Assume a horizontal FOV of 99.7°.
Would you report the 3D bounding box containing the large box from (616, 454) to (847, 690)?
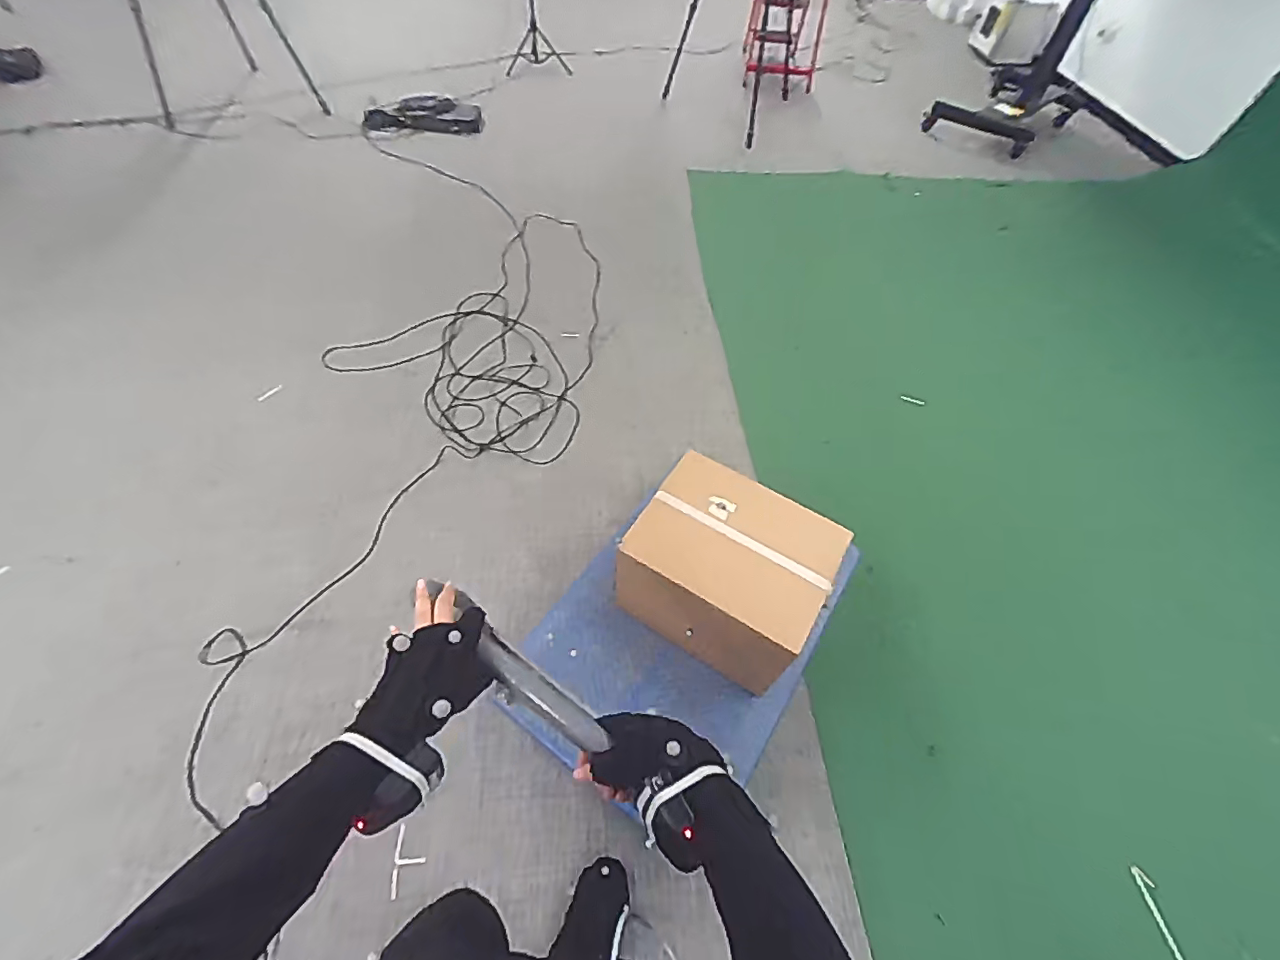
[{"bbox_3d":[0.191,0.214,1.248,0.408,0.320,0.320,28,57,16],"label":"large box"}]
